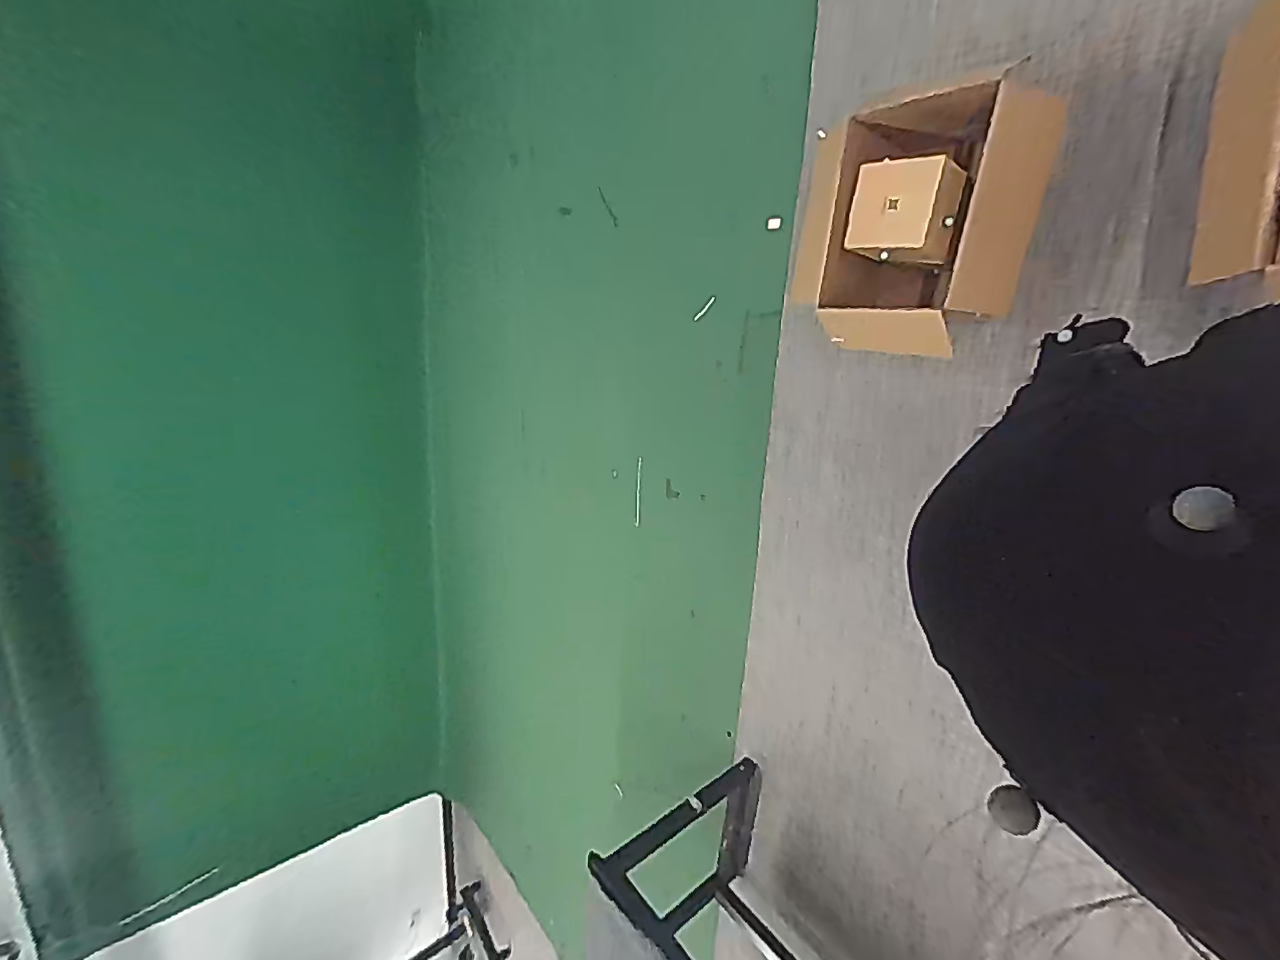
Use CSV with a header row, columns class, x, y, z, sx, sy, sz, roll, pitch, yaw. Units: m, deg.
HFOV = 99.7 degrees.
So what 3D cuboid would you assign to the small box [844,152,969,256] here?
class,x,y,z,sx,sy,sz,roll,pitch,yaw
small box,0.573,-0.583,1.161,0.179,0.176,0.168,23,113,44
